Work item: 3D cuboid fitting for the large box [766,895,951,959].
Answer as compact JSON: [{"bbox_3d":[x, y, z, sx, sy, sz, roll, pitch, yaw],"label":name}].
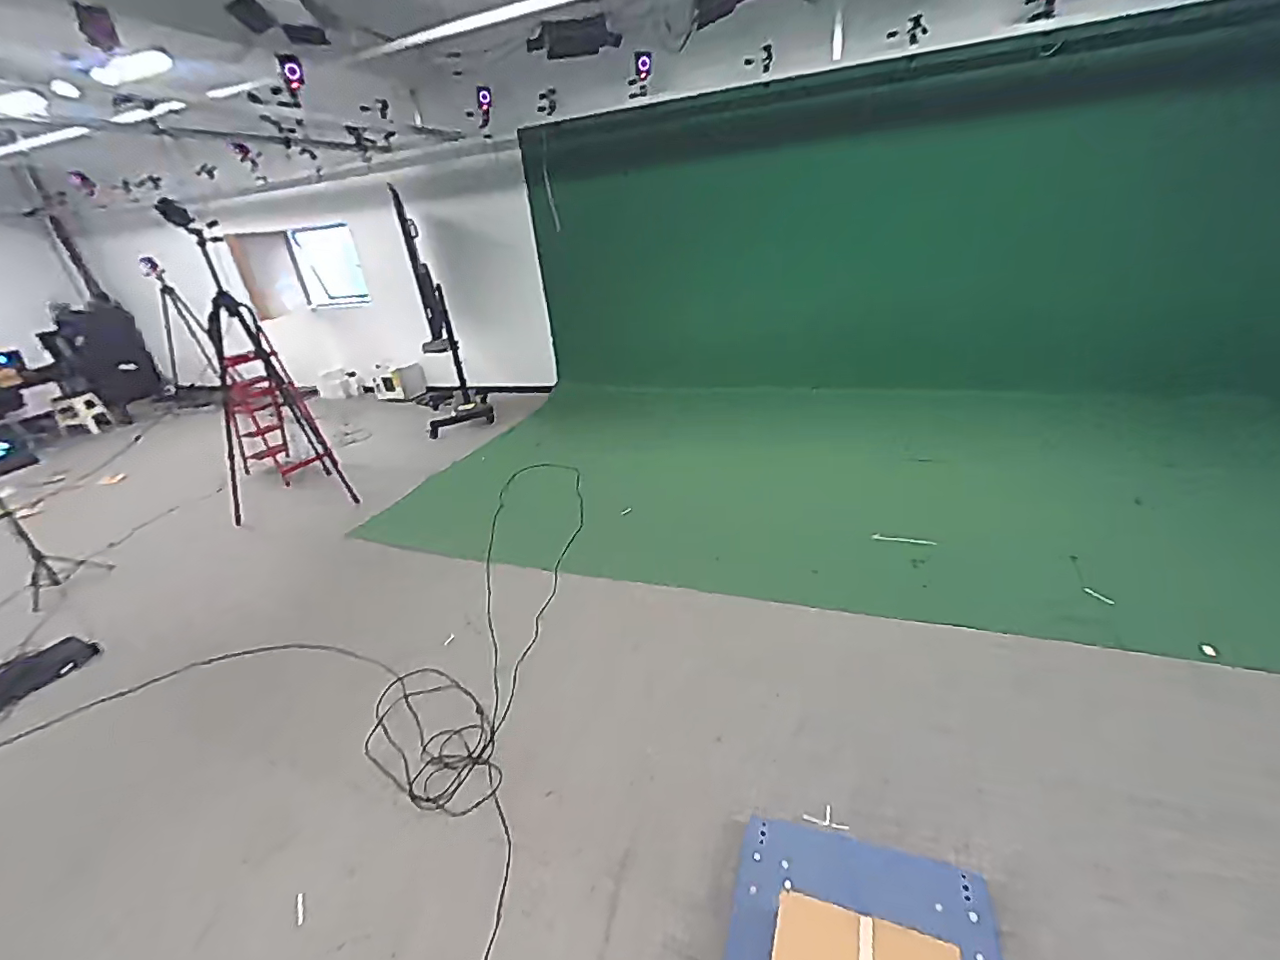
[{"bbox_3d":[0.359,1.052,0.916,0.320,0.320,0.408,5,27,21],"label":"large box"}]
